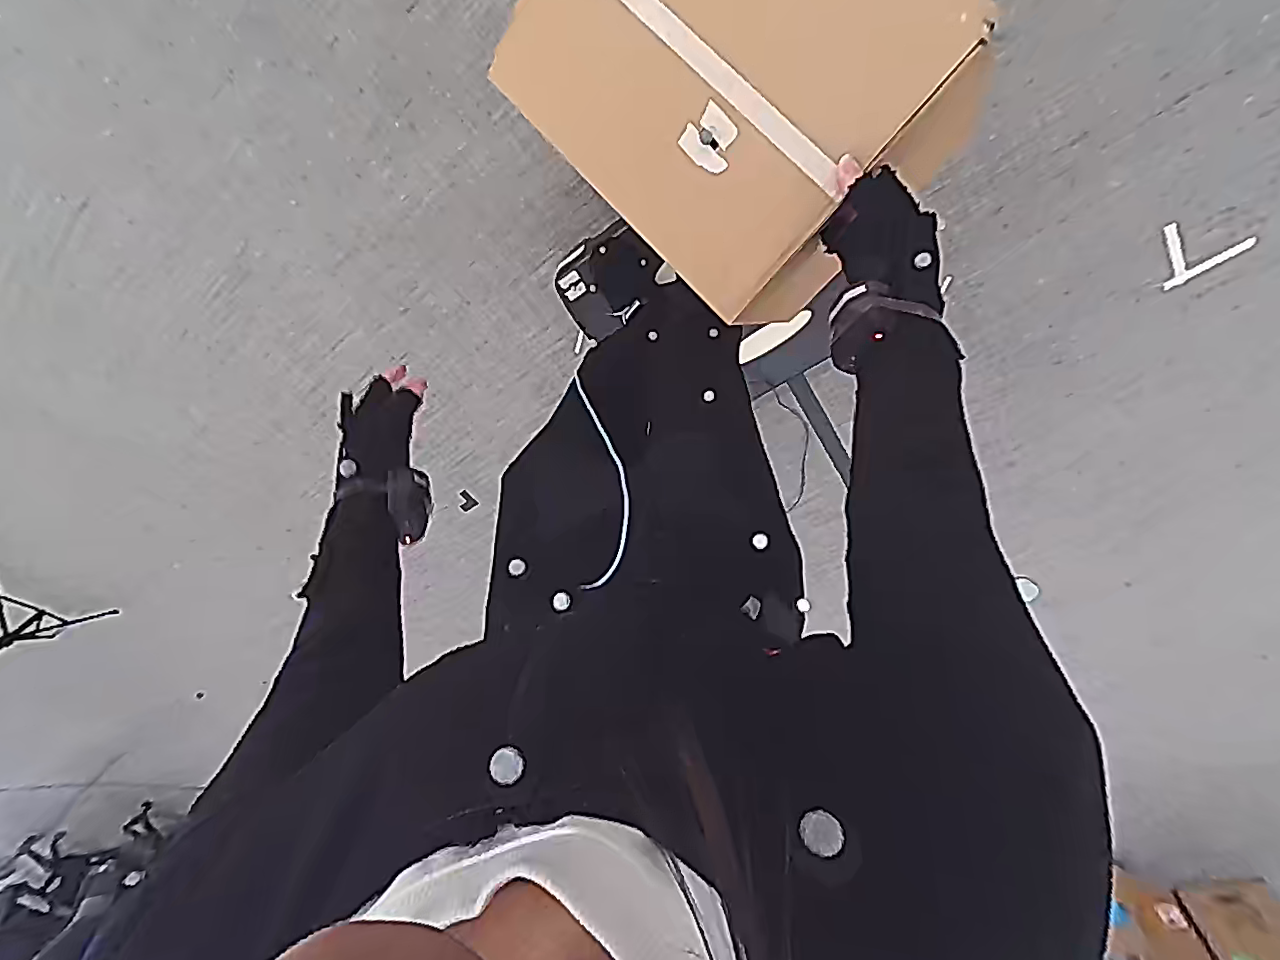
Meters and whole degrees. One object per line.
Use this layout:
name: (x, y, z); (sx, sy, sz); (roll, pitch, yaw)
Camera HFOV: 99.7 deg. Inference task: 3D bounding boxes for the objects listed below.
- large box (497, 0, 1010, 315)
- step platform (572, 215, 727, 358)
large box: (0.123, -0.449, 0.638); (0.408, 0.320, 0.320); (46, 122, 6)
step platform: (0.177, -0.569, 1.210); (0.684, 0.204, 0.286); (-29, 118, 23)
